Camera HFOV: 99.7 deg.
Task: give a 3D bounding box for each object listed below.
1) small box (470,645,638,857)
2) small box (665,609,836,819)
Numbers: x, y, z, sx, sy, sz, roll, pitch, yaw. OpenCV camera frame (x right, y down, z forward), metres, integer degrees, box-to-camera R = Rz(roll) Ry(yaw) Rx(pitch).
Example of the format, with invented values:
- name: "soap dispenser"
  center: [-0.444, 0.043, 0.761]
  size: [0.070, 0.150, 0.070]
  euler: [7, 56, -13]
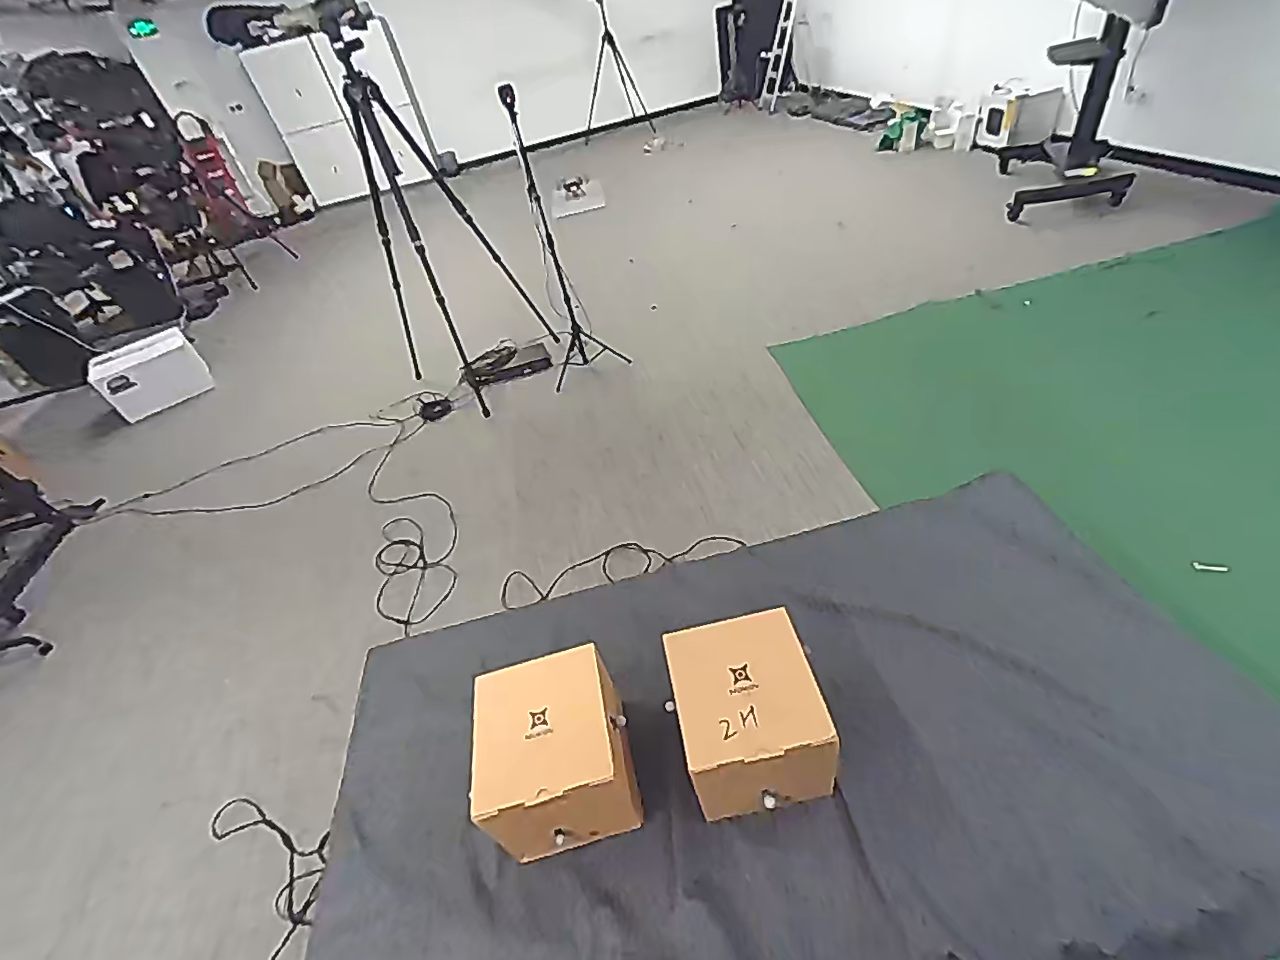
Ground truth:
- name: "small box"
  center: [-0.108, 0.352, 0.705]
  size: [0.168, 0.176, 0.179]
  euler: [-16, 42, -2]
- name: "small box"
  center: [0.134, 0.299, 0.692]
  size: [0.168, 0.176, 0.179]
  euler: [-13, 41, 2]
